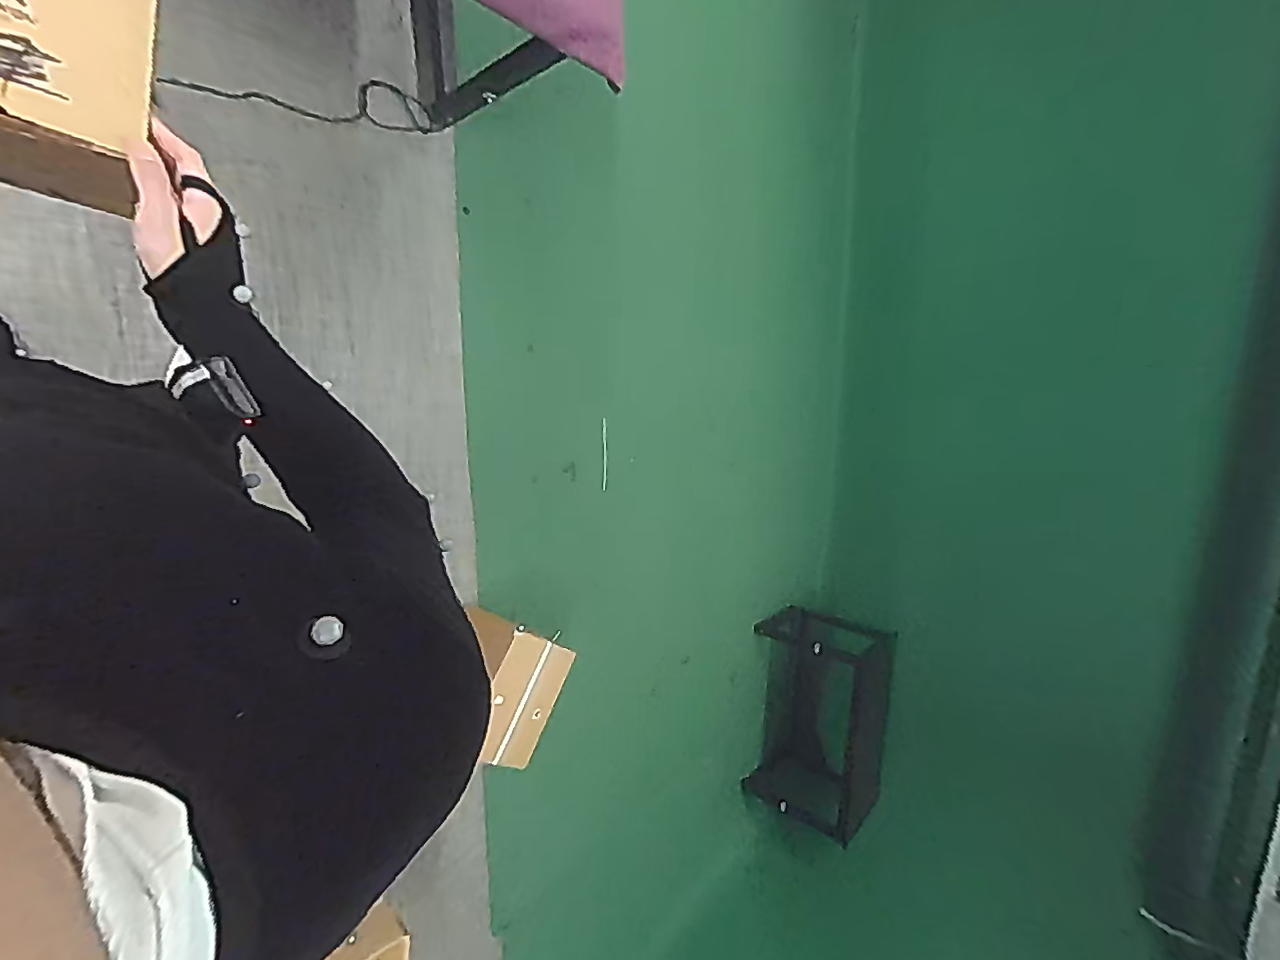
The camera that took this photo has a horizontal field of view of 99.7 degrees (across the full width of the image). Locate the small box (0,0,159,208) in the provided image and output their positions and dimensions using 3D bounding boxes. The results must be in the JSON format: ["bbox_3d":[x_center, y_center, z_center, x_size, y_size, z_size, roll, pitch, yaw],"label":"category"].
[{"bbox_3d":[-0.513,-0.357,0.446,0.168,0.176,0.179,3,91,-43],"label":"small box"}]
